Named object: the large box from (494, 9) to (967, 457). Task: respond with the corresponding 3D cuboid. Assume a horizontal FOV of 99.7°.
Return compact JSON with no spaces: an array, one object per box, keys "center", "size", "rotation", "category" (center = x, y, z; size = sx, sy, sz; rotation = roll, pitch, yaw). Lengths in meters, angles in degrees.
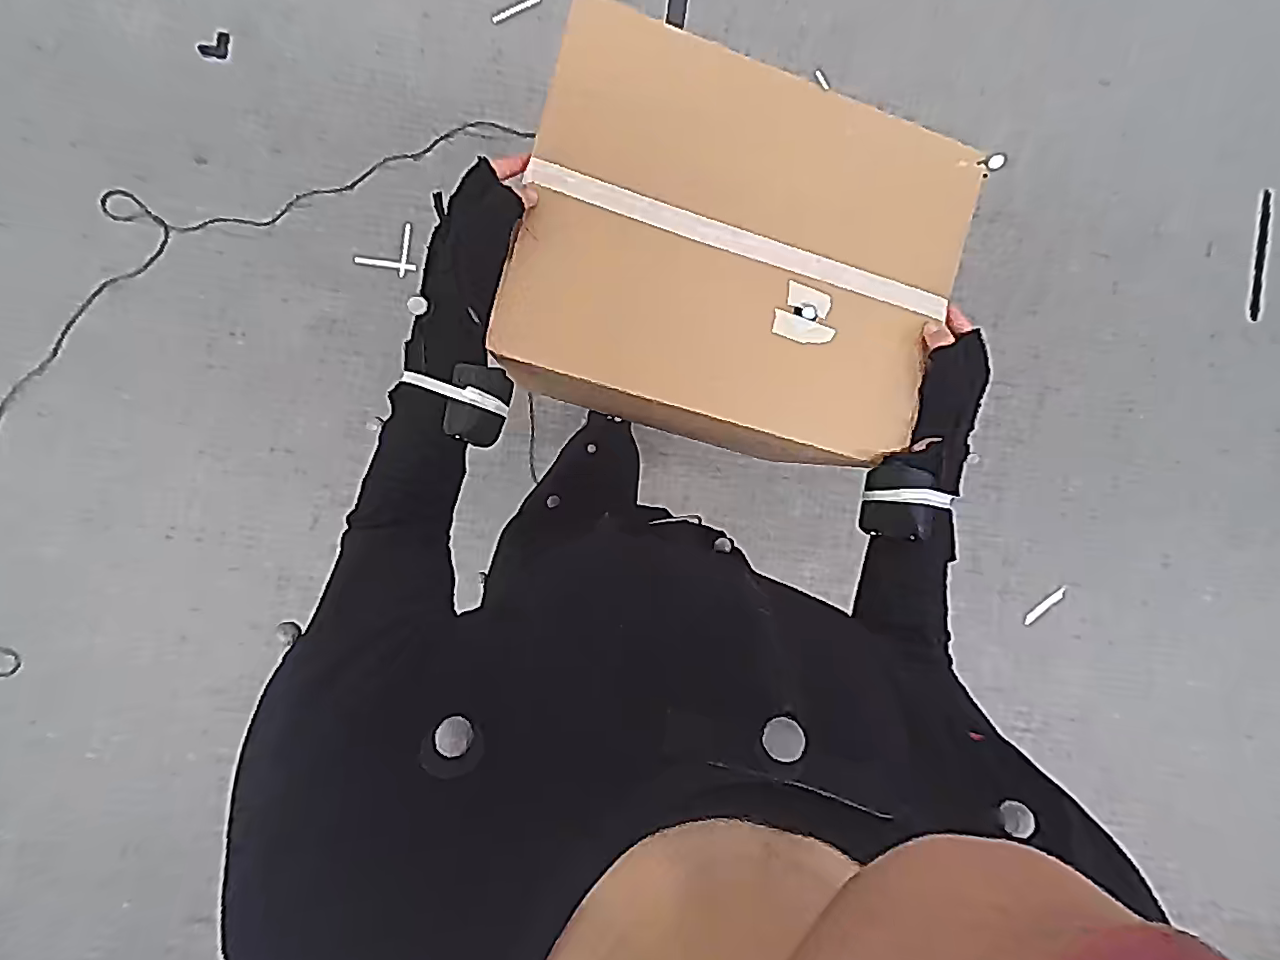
[{"center":[0.071,-0.226,0.648],"size":[0.408,0.320,0.320],"rotation":[15,93,-10],"category":"large box"}]
